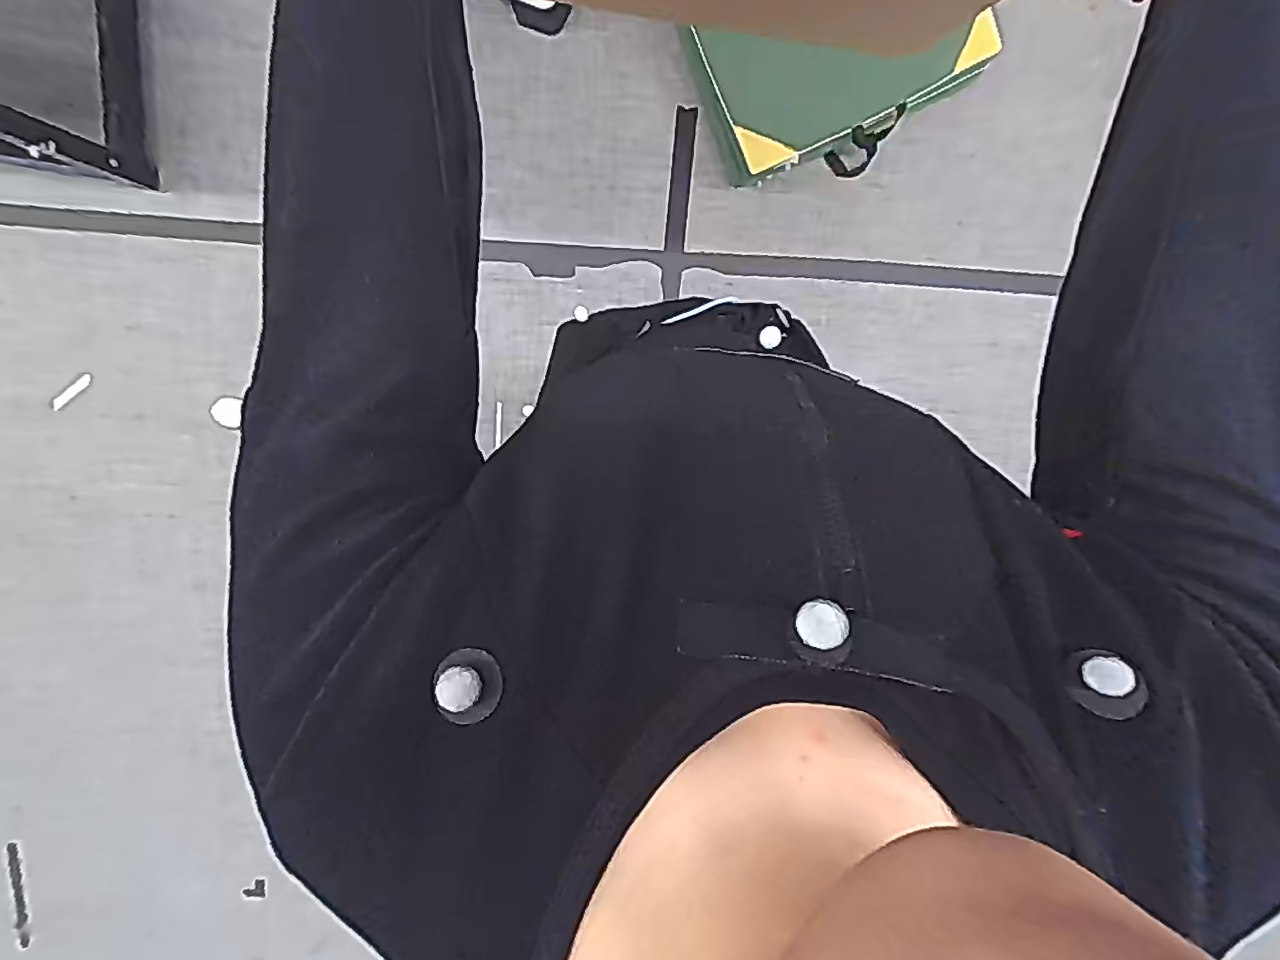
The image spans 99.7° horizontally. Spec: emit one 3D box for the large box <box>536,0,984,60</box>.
[{"bbox_3d":[0.110,-0.554,0.382,0.408,0.320,0.320,5,113,-5],"label":"large box"}]
